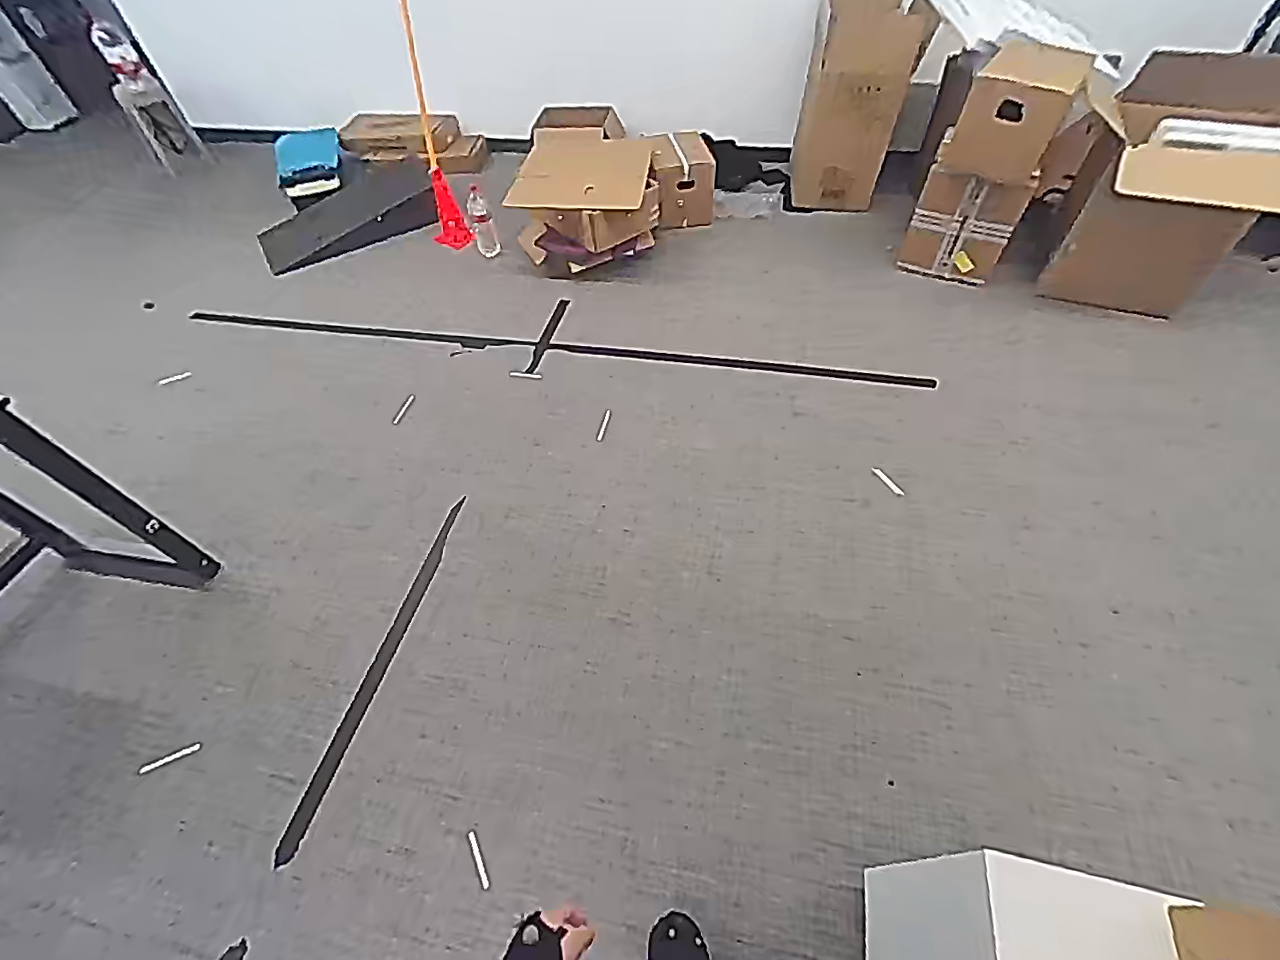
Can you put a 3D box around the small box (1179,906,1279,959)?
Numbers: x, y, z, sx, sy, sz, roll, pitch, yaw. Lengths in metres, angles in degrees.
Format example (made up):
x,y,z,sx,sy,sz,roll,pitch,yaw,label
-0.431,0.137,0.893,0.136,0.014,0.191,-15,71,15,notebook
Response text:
x,y,z,sx,sy,sz,roll,pitch,yaw,label
0.706,0.560,0.544,0.179,0.176,0.168,12,54,12,small box
